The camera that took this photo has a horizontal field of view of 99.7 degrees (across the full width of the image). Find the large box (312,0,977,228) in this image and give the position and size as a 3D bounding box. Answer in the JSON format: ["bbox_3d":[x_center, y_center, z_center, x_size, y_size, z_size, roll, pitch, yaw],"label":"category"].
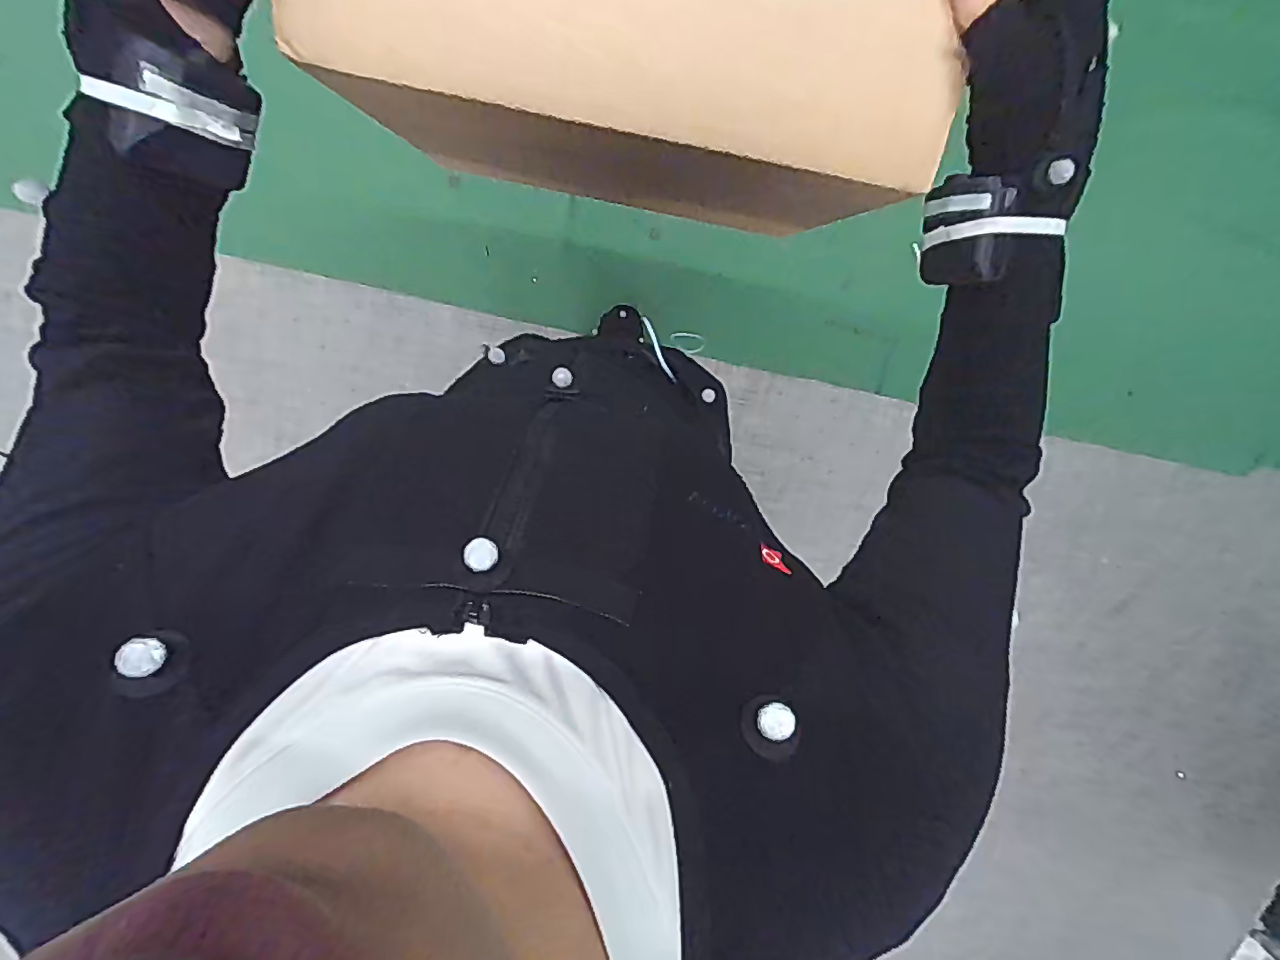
[{"bbox_3d":[0.012,-0.417,0.438,0.408,0.320,0.320,8,110,-5],"label":"large box"}]
